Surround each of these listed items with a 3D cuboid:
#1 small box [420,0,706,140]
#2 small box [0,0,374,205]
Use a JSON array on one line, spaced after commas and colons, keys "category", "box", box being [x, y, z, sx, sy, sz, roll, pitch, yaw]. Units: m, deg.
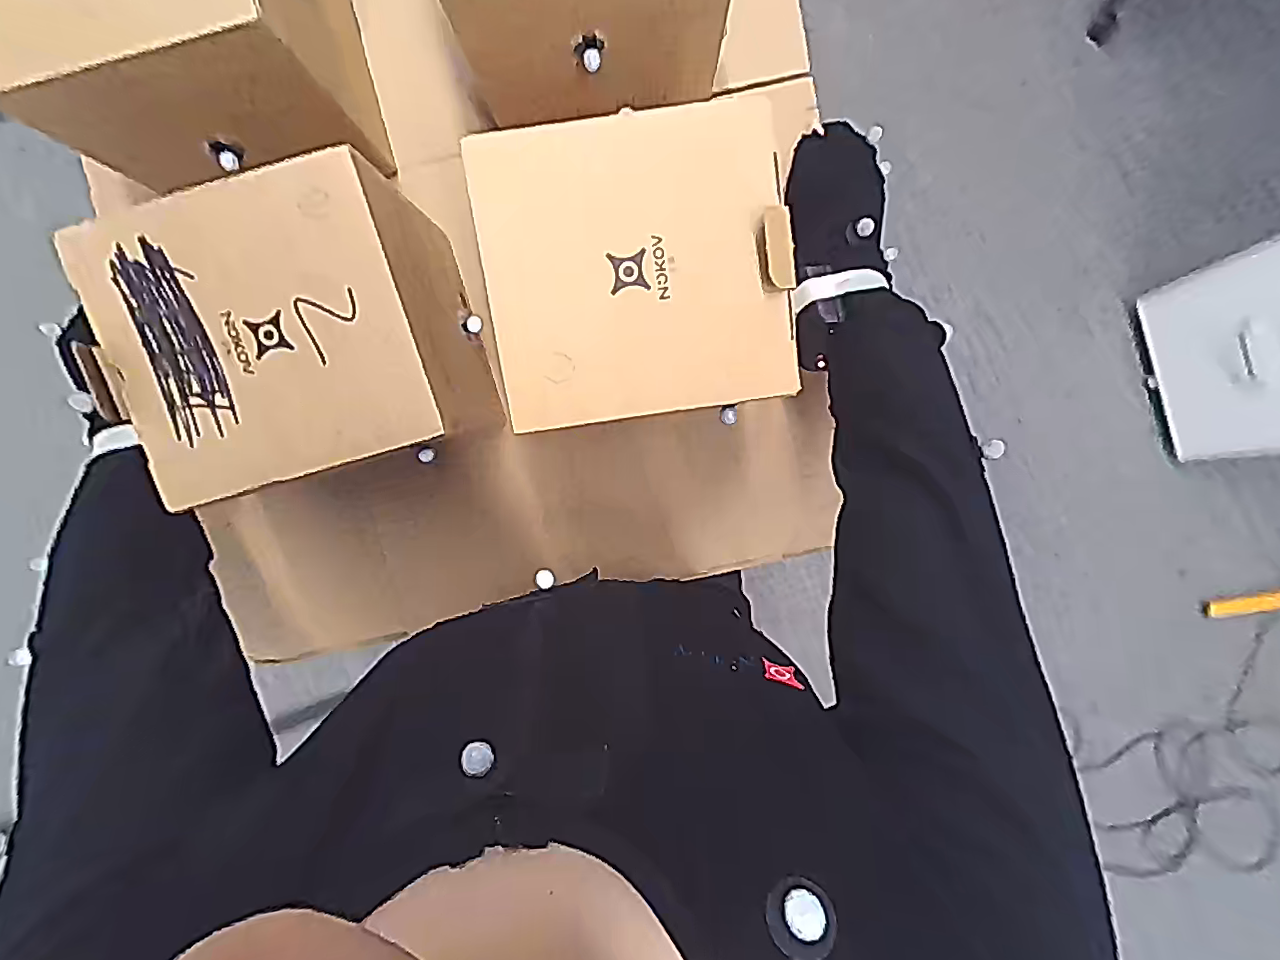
[{"category": "small box", "box": [-0.055, -0.367, 0.360, 0.179, 0.176, 0.168, -13, 95, 2]}, {"category": "small box", "box": [-0.312, -0.312, 0.365, 0.168, 0.176, 0.179, -14, 94, 0]}]
